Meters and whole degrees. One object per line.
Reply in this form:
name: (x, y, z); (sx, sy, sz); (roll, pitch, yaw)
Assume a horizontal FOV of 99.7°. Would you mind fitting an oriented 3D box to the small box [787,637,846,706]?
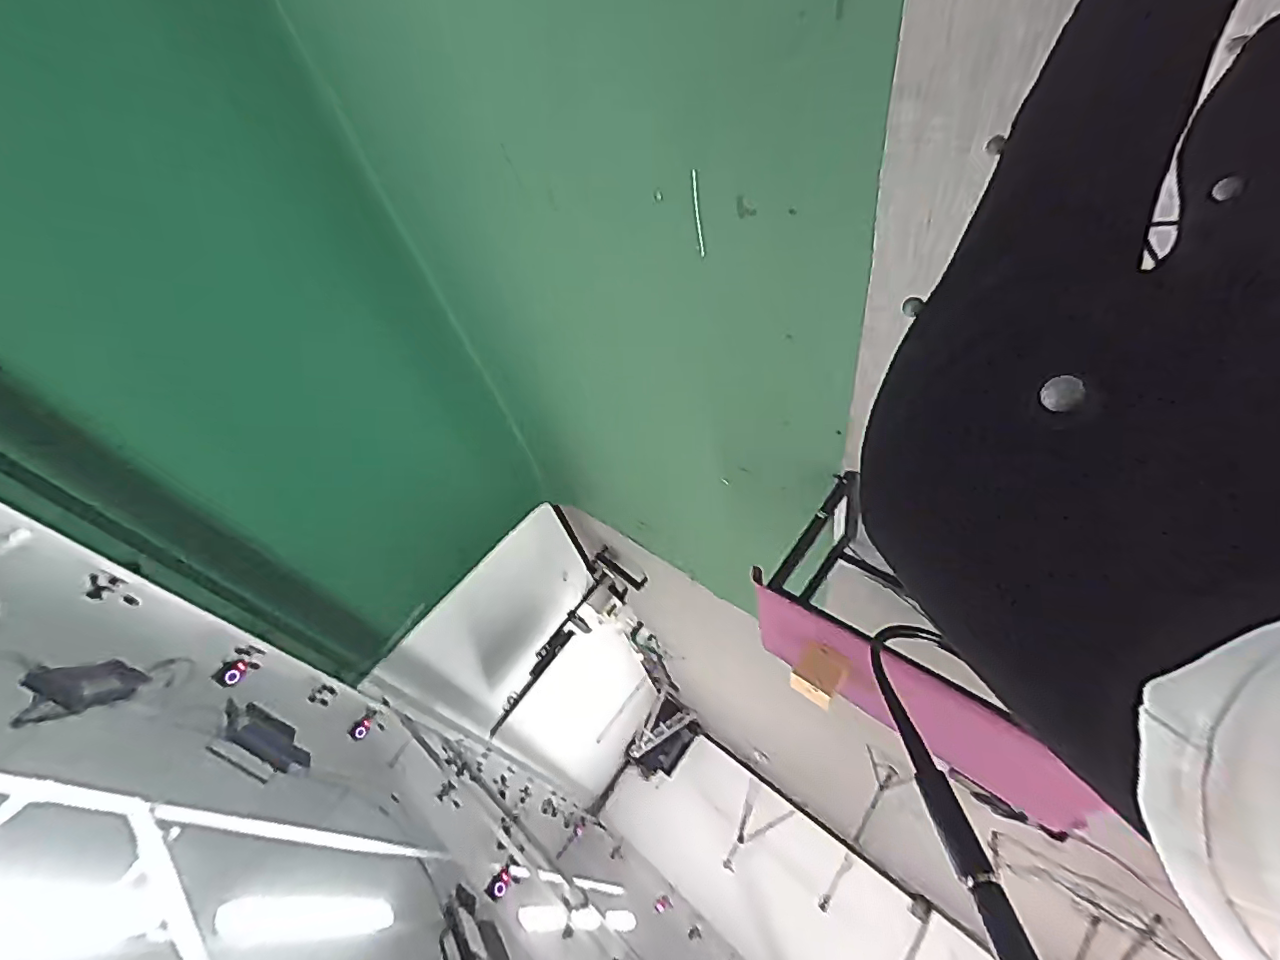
small box: (0.700, 0.758, 2.142); (0.168, 0.176, 0.179); (27, 154, 30)
